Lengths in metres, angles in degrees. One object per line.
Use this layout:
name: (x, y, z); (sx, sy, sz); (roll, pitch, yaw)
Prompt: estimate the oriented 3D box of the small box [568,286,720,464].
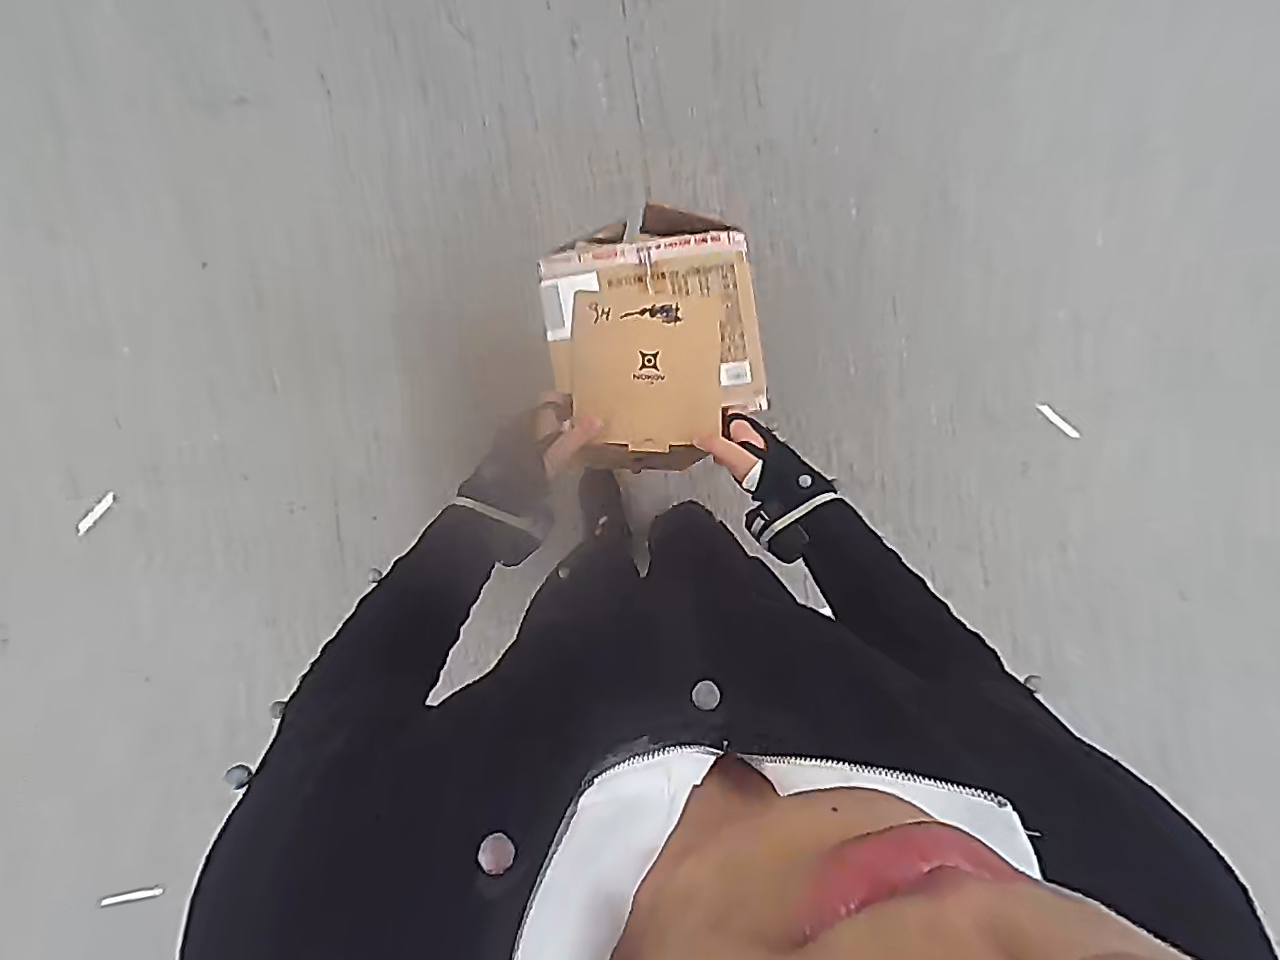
small box: (-0.003, -0.116, 0.671); (0.168, 0.176, 0.179); (1, 83, -9)
